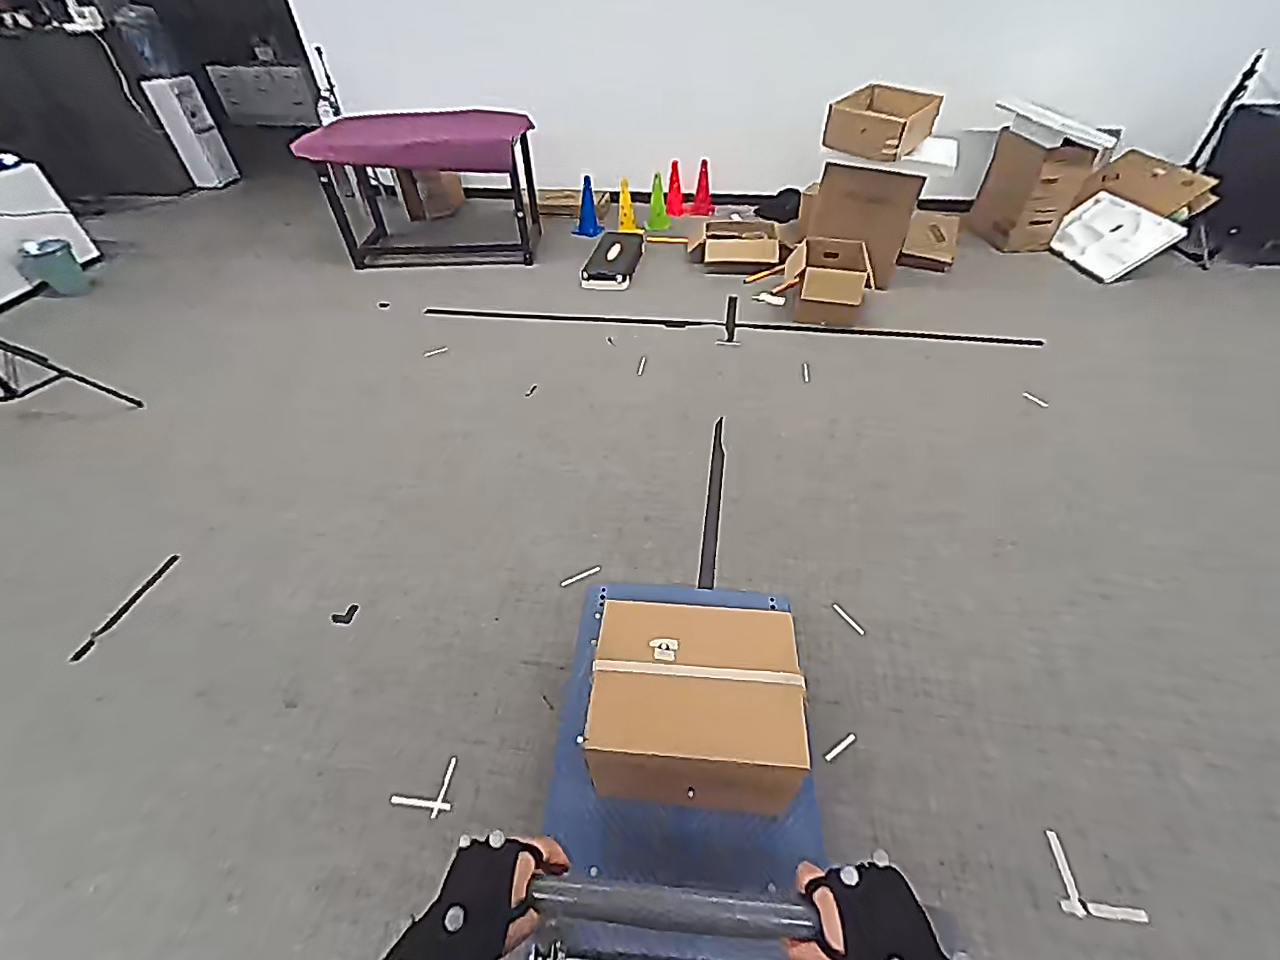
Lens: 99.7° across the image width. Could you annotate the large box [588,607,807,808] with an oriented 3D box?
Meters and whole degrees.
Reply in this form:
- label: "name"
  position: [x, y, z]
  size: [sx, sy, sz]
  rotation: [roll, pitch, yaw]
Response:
- label: "large box"
  position: [0.119, 0.500, 1.187]
  size: [0.408, 0.320, 0.320]
  rotation: [1, 44, 5]
